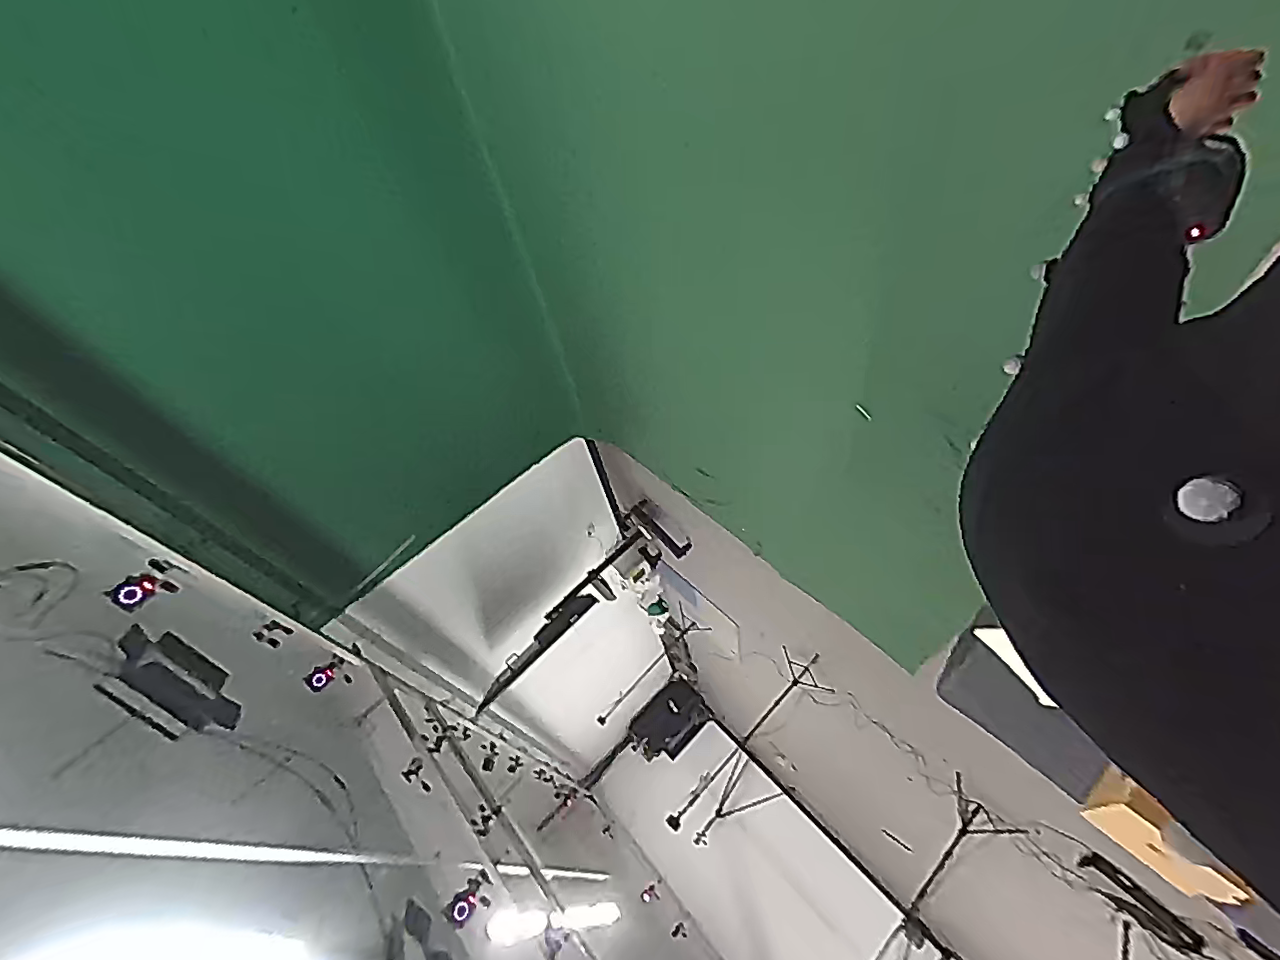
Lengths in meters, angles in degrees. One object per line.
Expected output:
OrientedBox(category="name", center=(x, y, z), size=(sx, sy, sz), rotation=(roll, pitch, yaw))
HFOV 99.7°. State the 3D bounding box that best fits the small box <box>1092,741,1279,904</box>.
OrientedBox(category="small box", center=(0.948, 0.578, 0.930), size=(0.179, 0.176, 0.168), rotation=(37, 159, 33))
